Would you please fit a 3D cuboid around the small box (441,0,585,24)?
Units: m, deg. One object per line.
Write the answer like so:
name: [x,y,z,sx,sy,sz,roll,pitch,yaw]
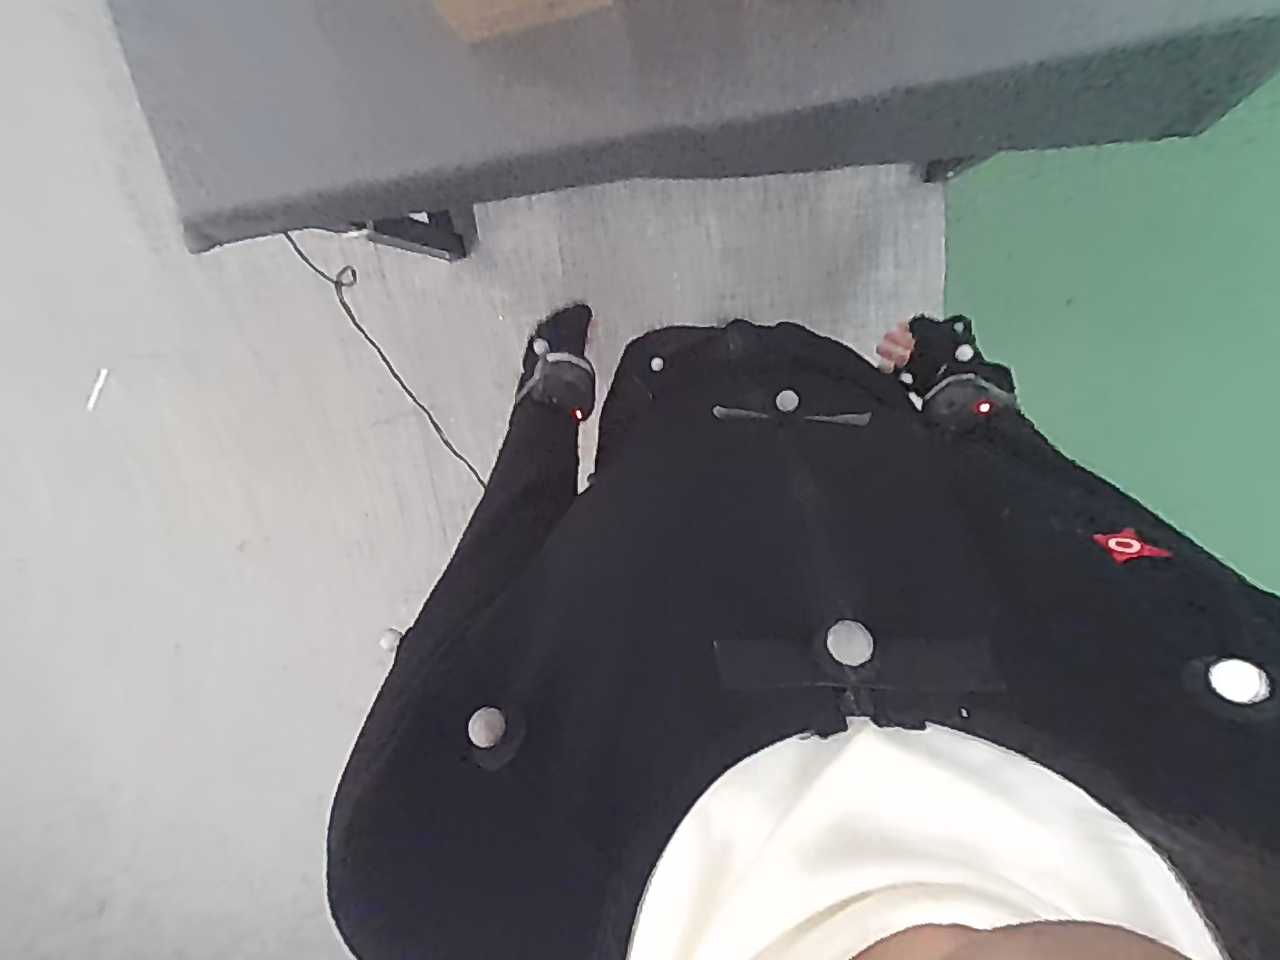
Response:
small box: [-0.131,-0.541,0.466,0.168,0.176,0.179,-10,105,6]
